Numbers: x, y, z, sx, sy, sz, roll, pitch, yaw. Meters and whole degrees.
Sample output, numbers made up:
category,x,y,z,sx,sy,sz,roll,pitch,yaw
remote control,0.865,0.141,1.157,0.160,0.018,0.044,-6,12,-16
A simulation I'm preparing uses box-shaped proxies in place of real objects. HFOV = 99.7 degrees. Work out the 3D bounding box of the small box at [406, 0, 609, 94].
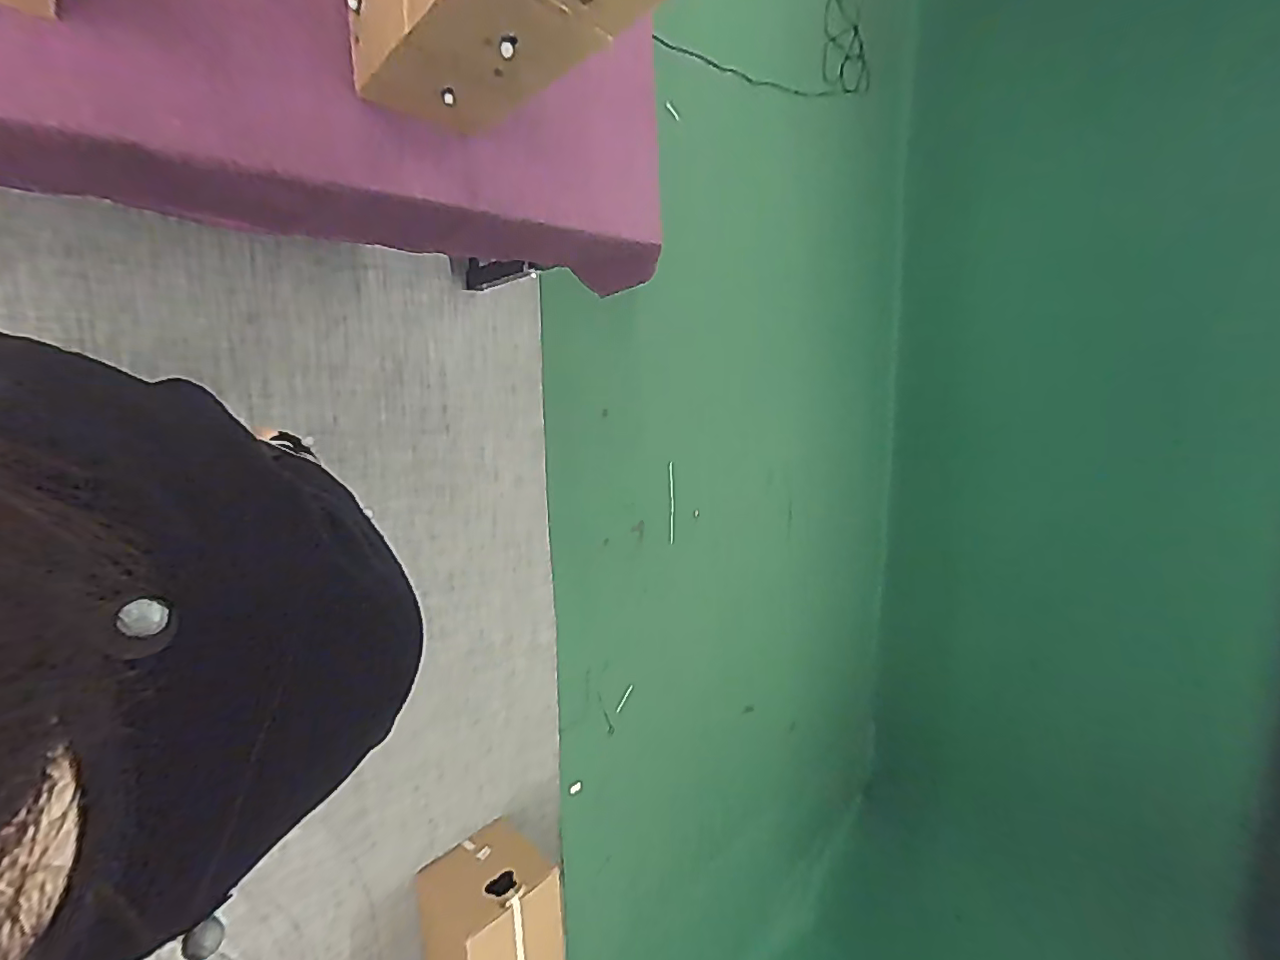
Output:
category,x,y,z,sx,sy,sz,roll,pitch,yaw
small box,-0.146,-0.575,0.596,0.168,0.176,0.179,-5,99,-45

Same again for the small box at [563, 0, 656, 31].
category,x,y,z,sx,sy,sz,roll,pitch,yaw
small box,-0.030,-0.560,0.479,0.168,0.176,0.179,-7,99,-45

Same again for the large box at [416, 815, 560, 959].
category,x,y,z,sx,sy,sz,roll,pitch,yaw
large box,-0.473,1.381,1.698,0.320,0.320,0.408,-11,104,-45
